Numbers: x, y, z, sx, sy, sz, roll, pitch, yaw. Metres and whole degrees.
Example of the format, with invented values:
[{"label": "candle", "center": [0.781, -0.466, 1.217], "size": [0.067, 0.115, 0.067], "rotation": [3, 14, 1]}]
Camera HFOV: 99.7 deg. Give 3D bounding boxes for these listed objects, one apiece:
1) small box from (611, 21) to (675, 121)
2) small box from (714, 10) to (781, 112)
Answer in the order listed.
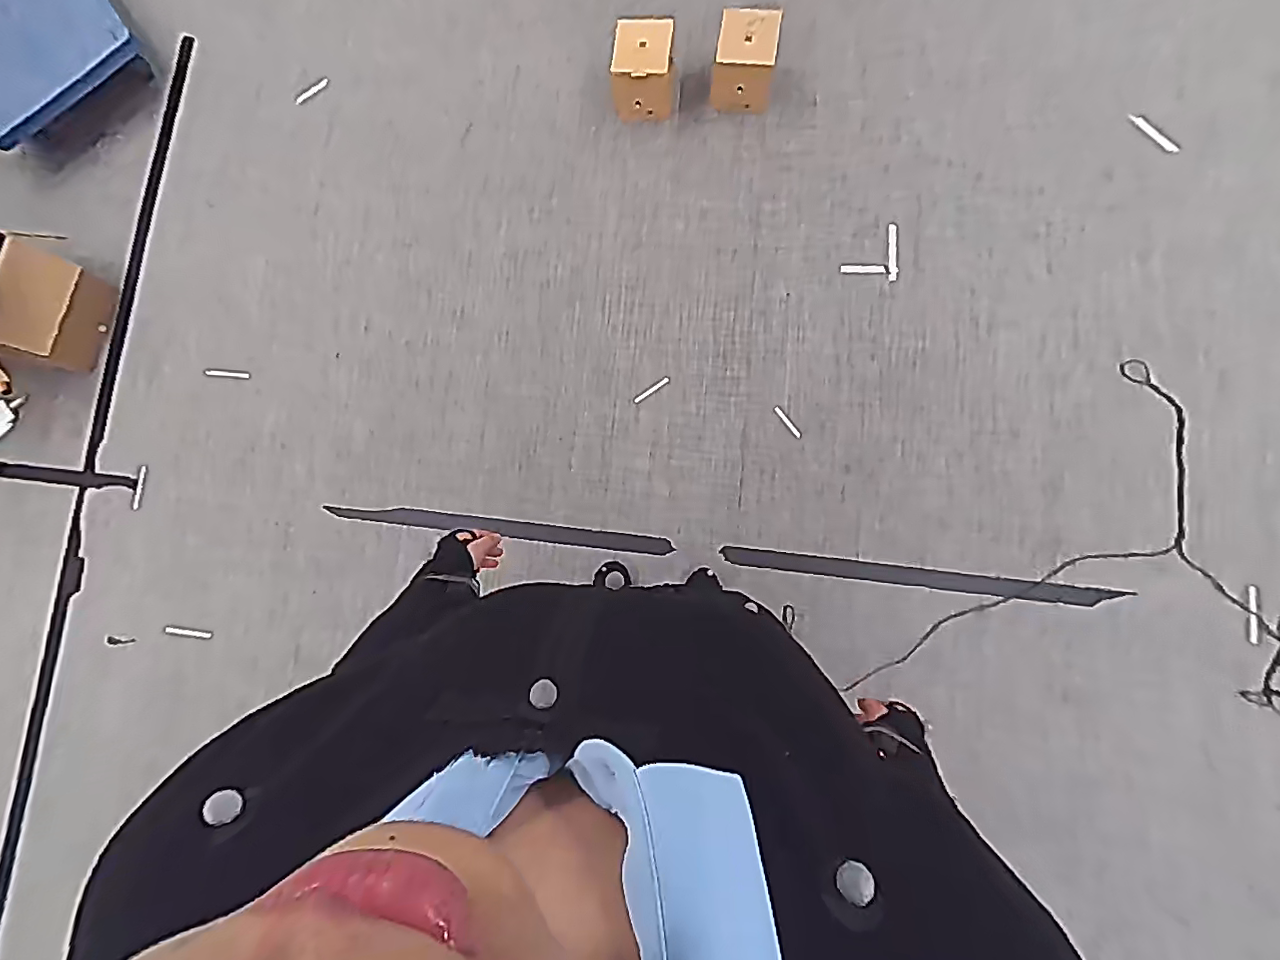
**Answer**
[{"label": "small box", "center": [0.015, -1.228, 1.628], "size": [0.168, 0.176, 0.179], "rotation": [6, 83, 7]}, {"label": "small box", "center": [0.312, -1.227, 1.595], "size": [0.168, 0.176, 0.179], "rotation": [9, 83, 6]}]
